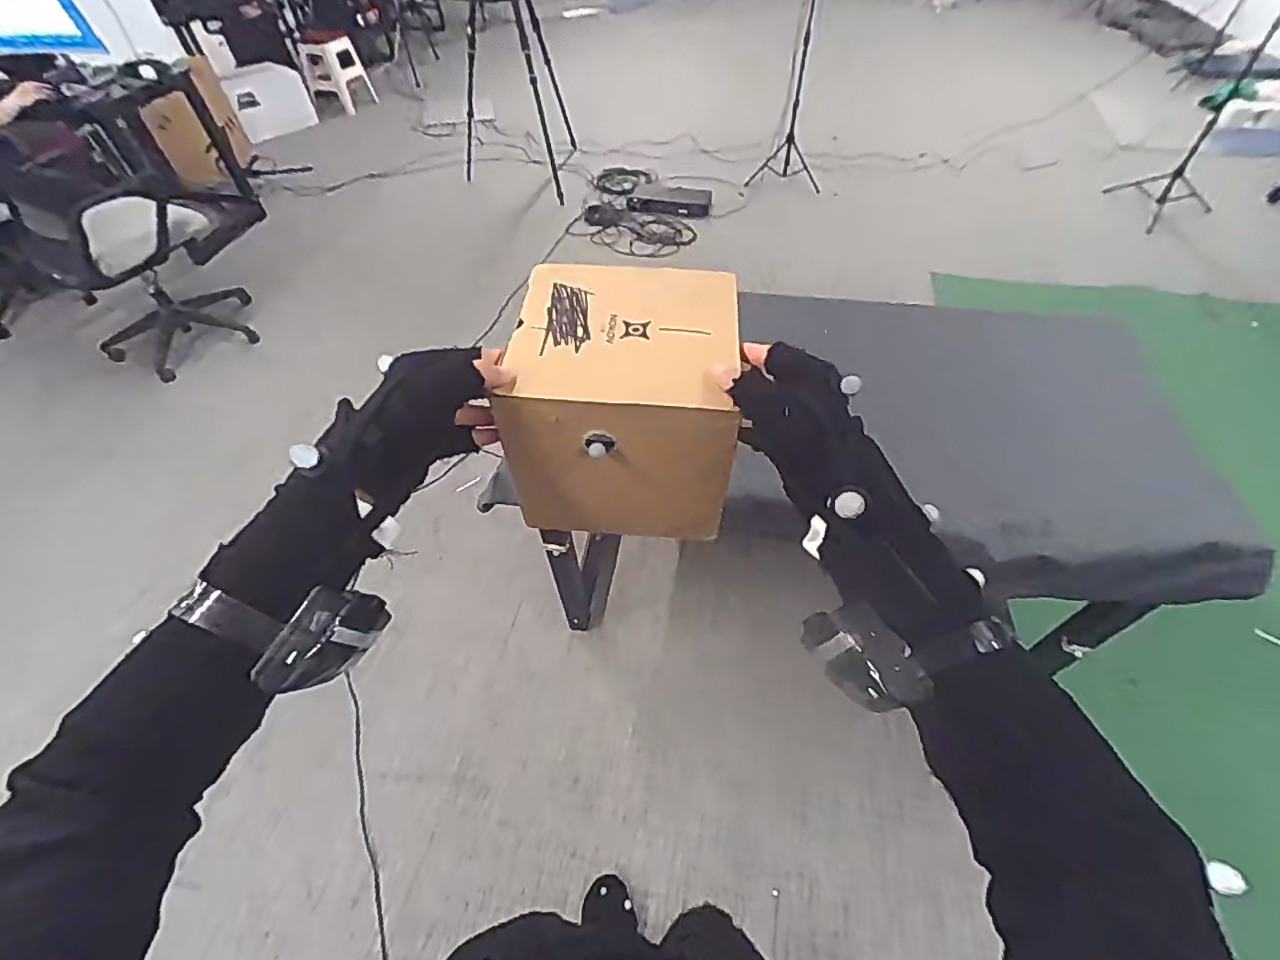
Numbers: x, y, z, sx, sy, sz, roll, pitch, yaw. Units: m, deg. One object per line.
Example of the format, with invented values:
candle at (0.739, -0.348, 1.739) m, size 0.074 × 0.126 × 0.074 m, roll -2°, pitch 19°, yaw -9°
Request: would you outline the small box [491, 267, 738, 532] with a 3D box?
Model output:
small box at (-0.012, -0.067, 0.484) m, size 0.179 × 0.176 × 0.168 m, roll 4°, pitch 53°, yaw 2°
